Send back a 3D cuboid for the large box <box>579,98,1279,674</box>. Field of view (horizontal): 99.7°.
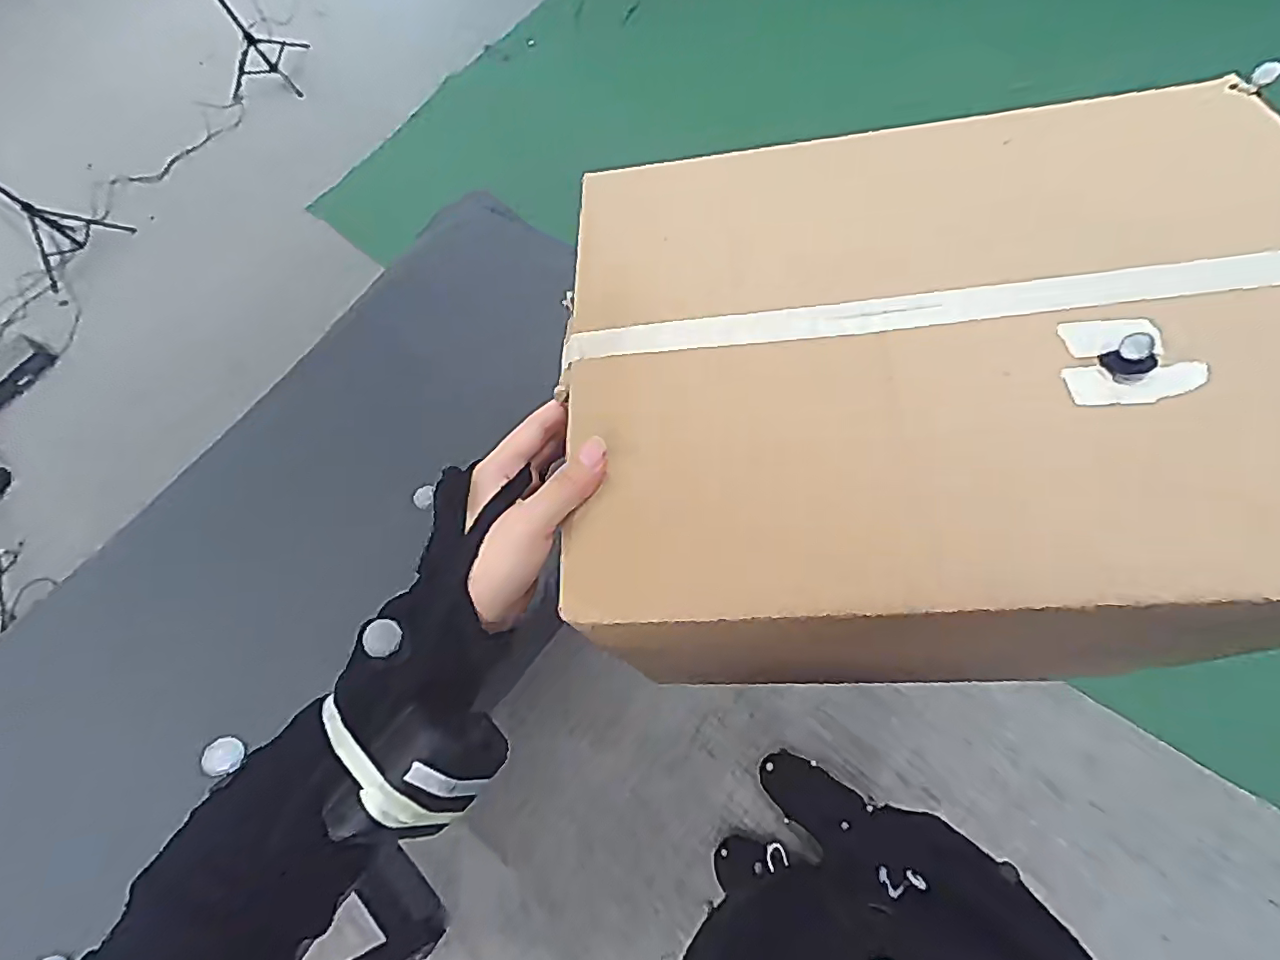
[{"bbox_3d":[0.183,-0.029,0.433,0.408,0.320,0.320,-3,64,7],"label":"large box"}]
